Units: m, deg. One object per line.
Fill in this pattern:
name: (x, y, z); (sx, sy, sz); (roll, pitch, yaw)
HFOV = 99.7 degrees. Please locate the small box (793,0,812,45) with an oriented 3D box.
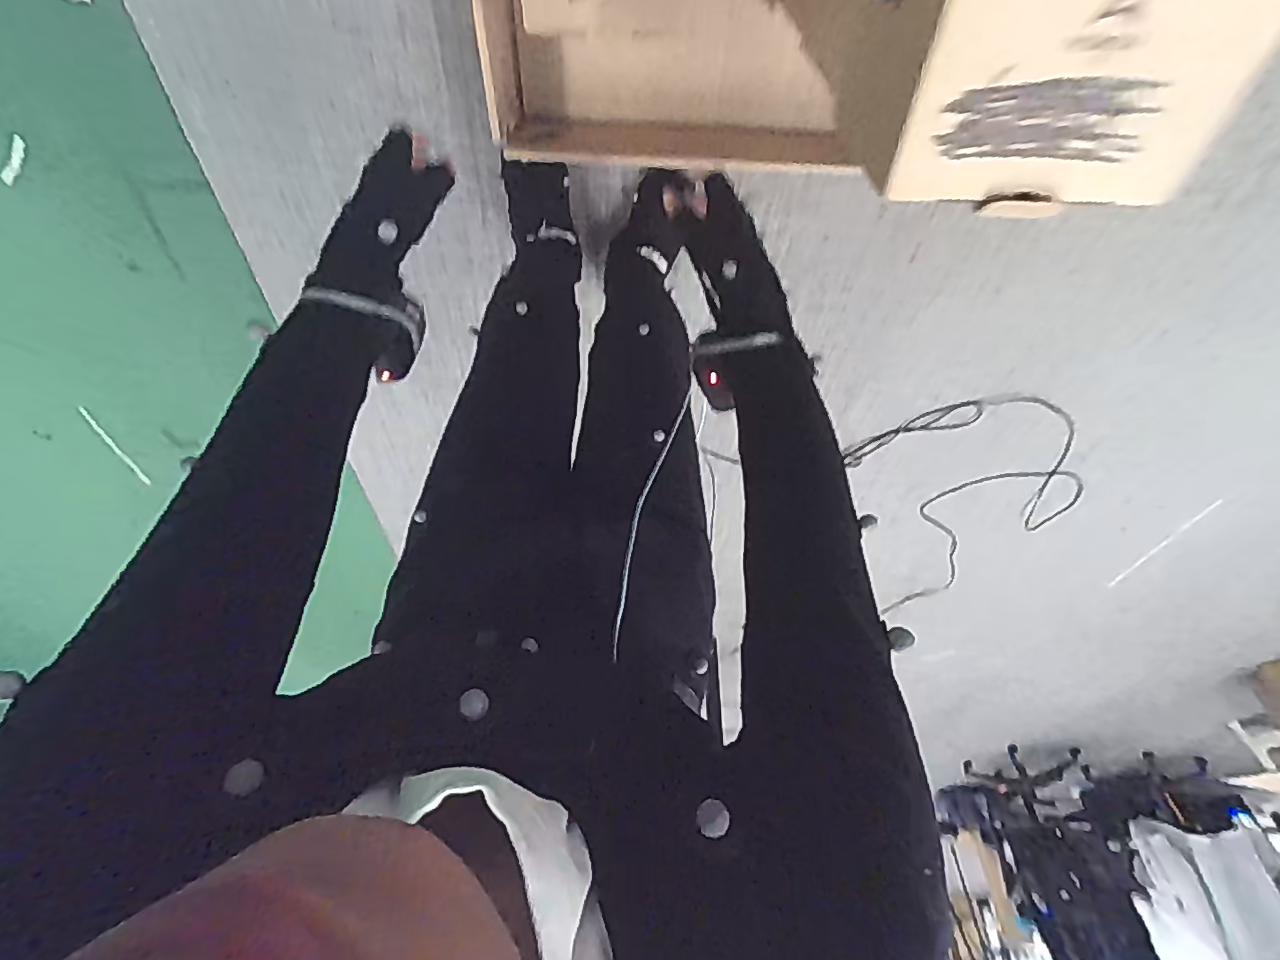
small box: (0.249, -0.529, 0.506); (0.168, 0.176, 0.179); (4, 138, 0)

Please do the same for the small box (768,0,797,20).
small box: (0.242, -0.664, 0.627); (0.168, 0.176, 0.179); (1, 138, 4)

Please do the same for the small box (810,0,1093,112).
small box: (0.240, -0.414, 0.414); (0.168, 0.176, 0.179); (3, 139, -1)
